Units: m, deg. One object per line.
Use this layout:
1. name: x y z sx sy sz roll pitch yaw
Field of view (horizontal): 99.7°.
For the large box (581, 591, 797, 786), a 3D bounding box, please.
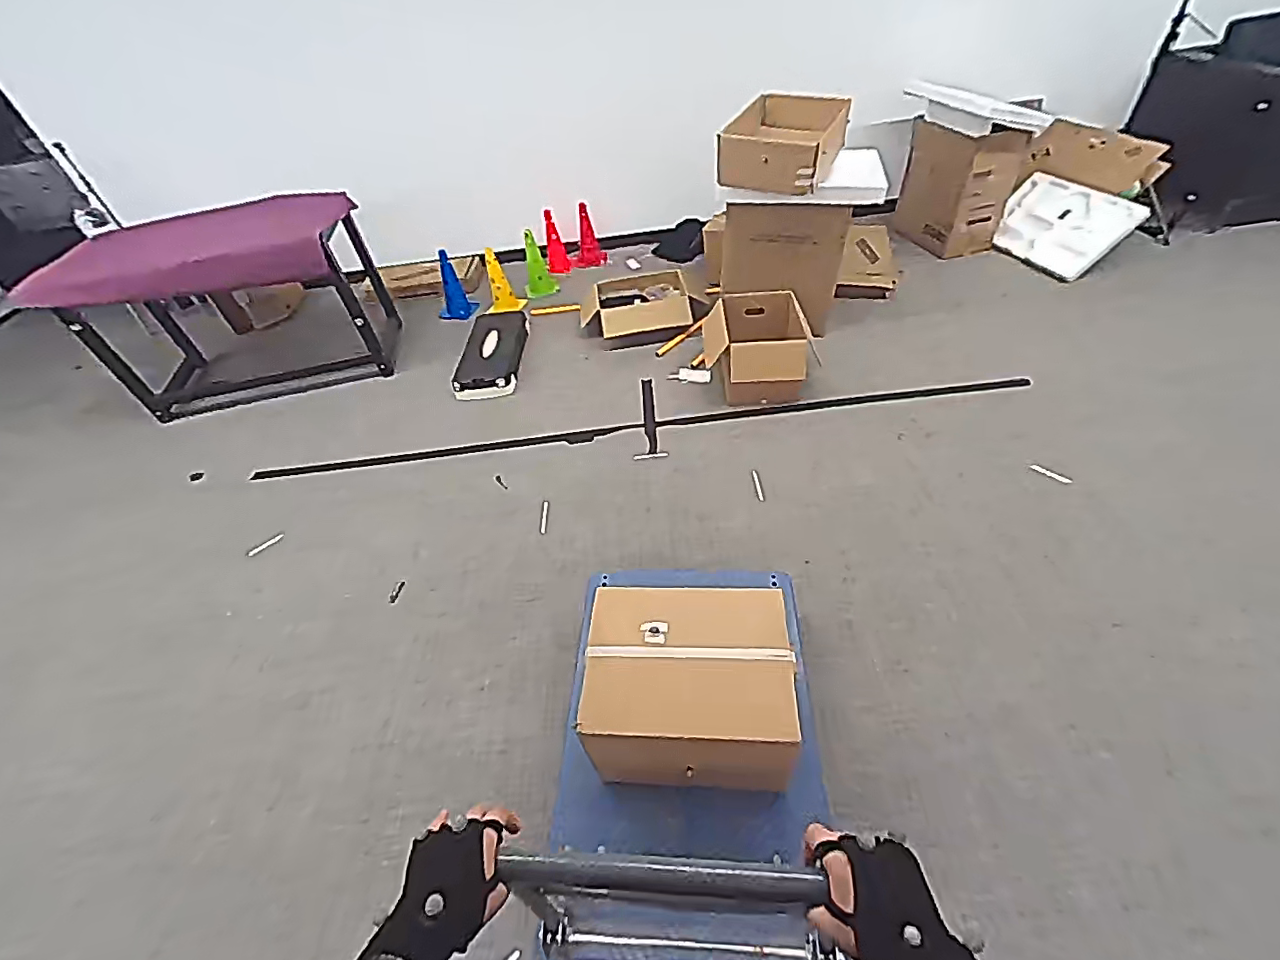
1. large box: 0.112 0.463 1.193 0.408 0.320 0.320 -2 45 8
